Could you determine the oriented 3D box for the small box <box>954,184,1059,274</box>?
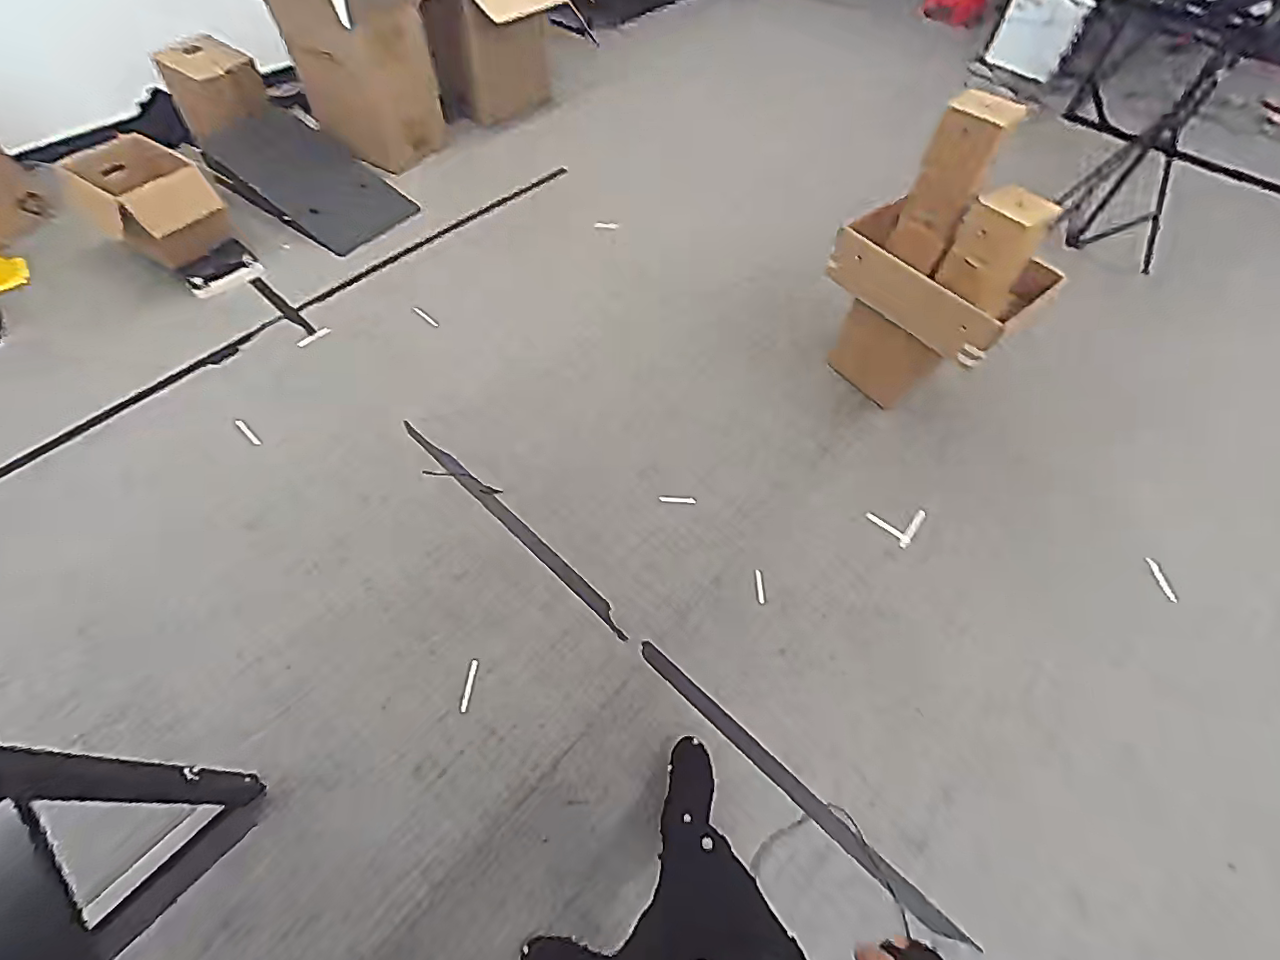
[{"bbox_3d":[1.082,-0.745,1.615,0.179,0.176,0.168,-30,62,-21],"label":"small box"}]

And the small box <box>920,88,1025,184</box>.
[{"bbox_3d":[0.958,-0.999,1.576,0.179,0.176,0.168,39,64,20],"label":"small box"}]
